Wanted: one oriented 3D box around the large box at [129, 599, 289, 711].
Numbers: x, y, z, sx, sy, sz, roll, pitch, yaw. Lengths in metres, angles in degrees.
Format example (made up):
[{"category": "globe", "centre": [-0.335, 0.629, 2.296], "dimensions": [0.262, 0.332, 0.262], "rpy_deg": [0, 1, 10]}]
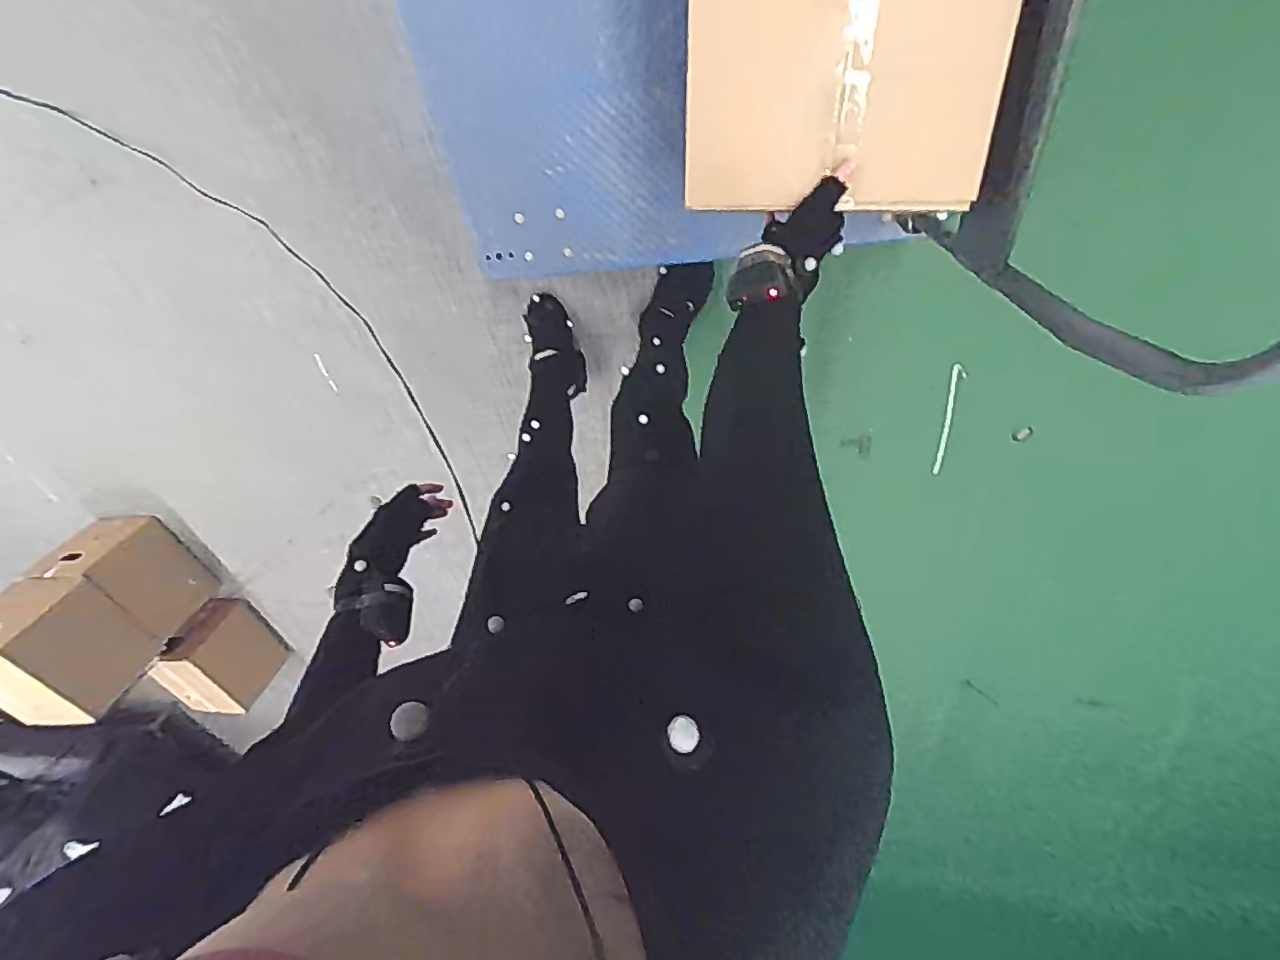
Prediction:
[{"category": "large box", "centre": [-1.884, 0.773, 2.400], "dimensions": [0.320, 0.320, 0.408], "rpy_deg": [-2, 129, 13]}]
